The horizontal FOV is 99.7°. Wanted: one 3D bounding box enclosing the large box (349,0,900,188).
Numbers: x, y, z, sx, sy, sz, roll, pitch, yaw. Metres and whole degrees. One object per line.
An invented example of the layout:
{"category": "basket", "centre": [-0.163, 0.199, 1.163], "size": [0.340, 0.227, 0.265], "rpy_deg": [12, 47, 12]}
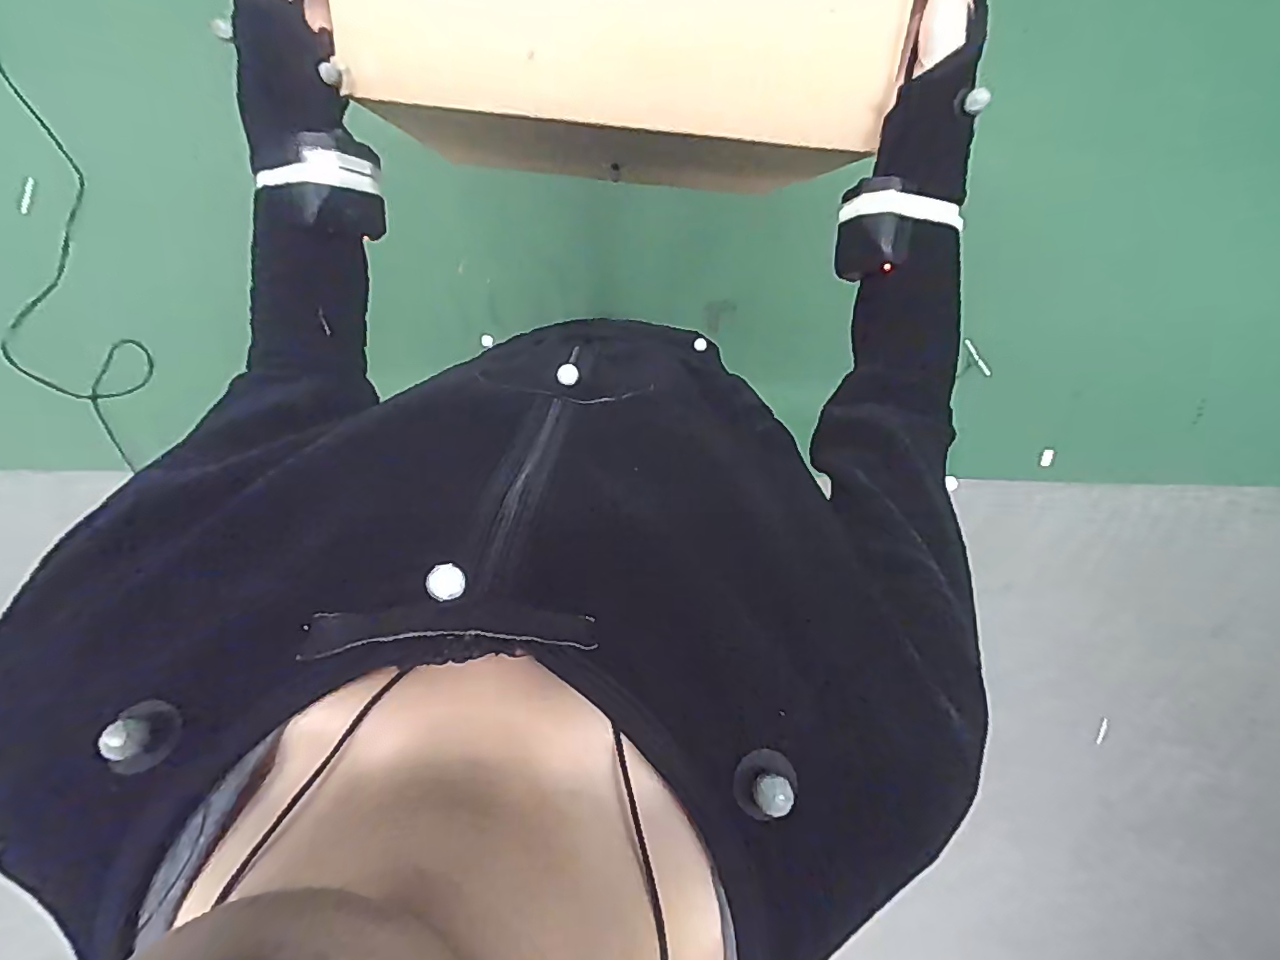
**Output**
{"category": "large box", "centre": [-0.007, -0.468, 0.498], "size": [0.408, 0.320, 0.320], "rpy_deg": [3, 111, -4]}
